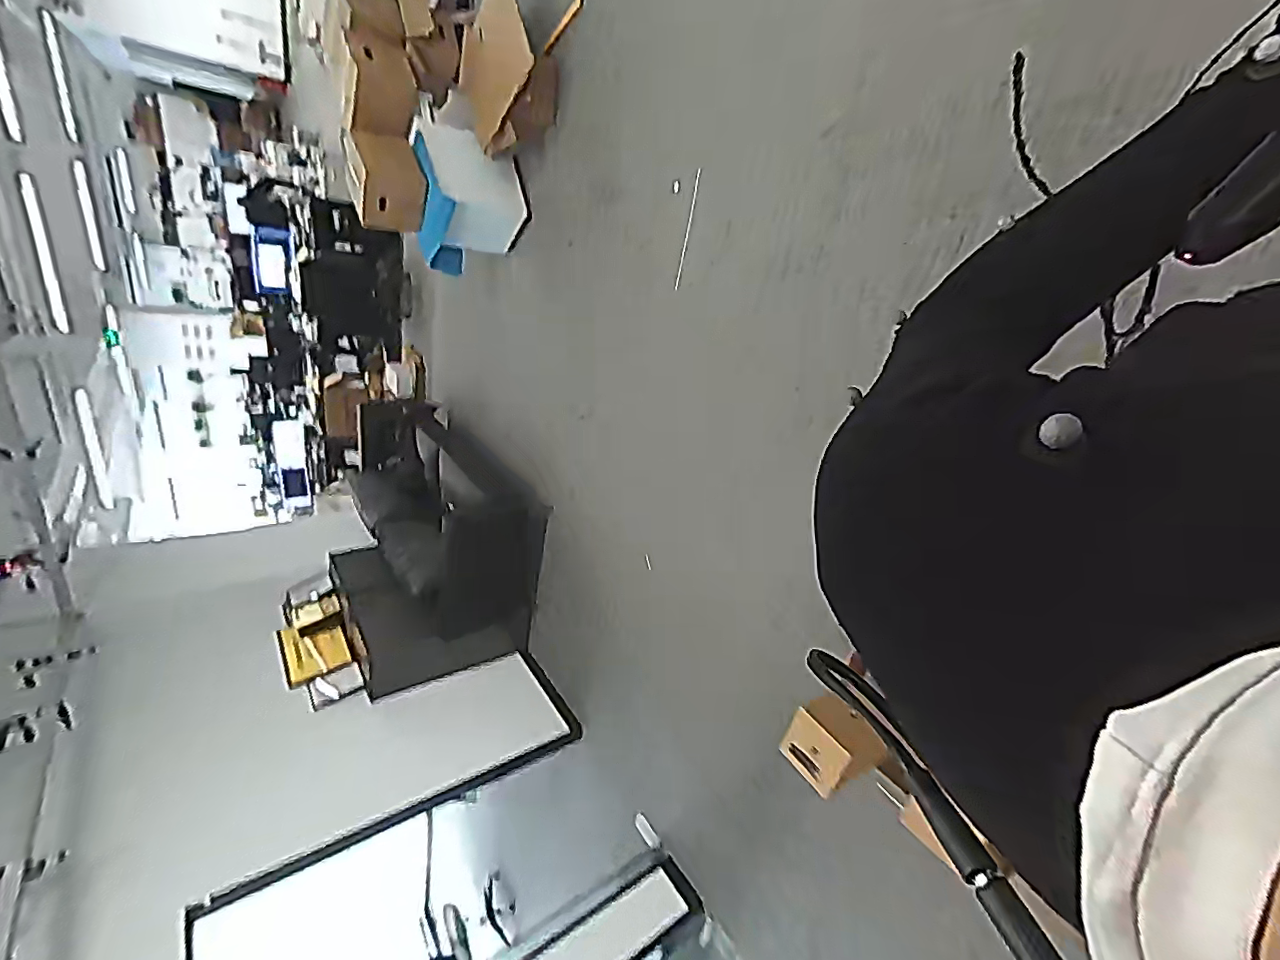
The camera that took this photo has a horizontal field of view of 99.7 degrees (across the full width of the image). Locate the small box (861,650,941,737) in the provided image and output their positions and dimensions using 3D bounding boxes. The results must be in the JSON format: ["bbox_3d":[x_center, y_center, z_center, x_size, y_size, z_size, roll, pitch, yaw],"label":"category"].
[{"bbox_3d":[0.781,0.650,1.670,0.179,0.176,0.168,43,128,39],"label":"small box"}]

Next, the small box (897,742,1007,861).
[{"bbox_3d":[0.808,0.819,1.396,0.168,0.176,0.179,36,125,45],"label":"small box"}]

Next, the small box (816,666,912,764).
[{"bbox_3d":[0.654,0.674,1.570,0.168,0.176,0.179,44,129,40],"label":"small box"}]
